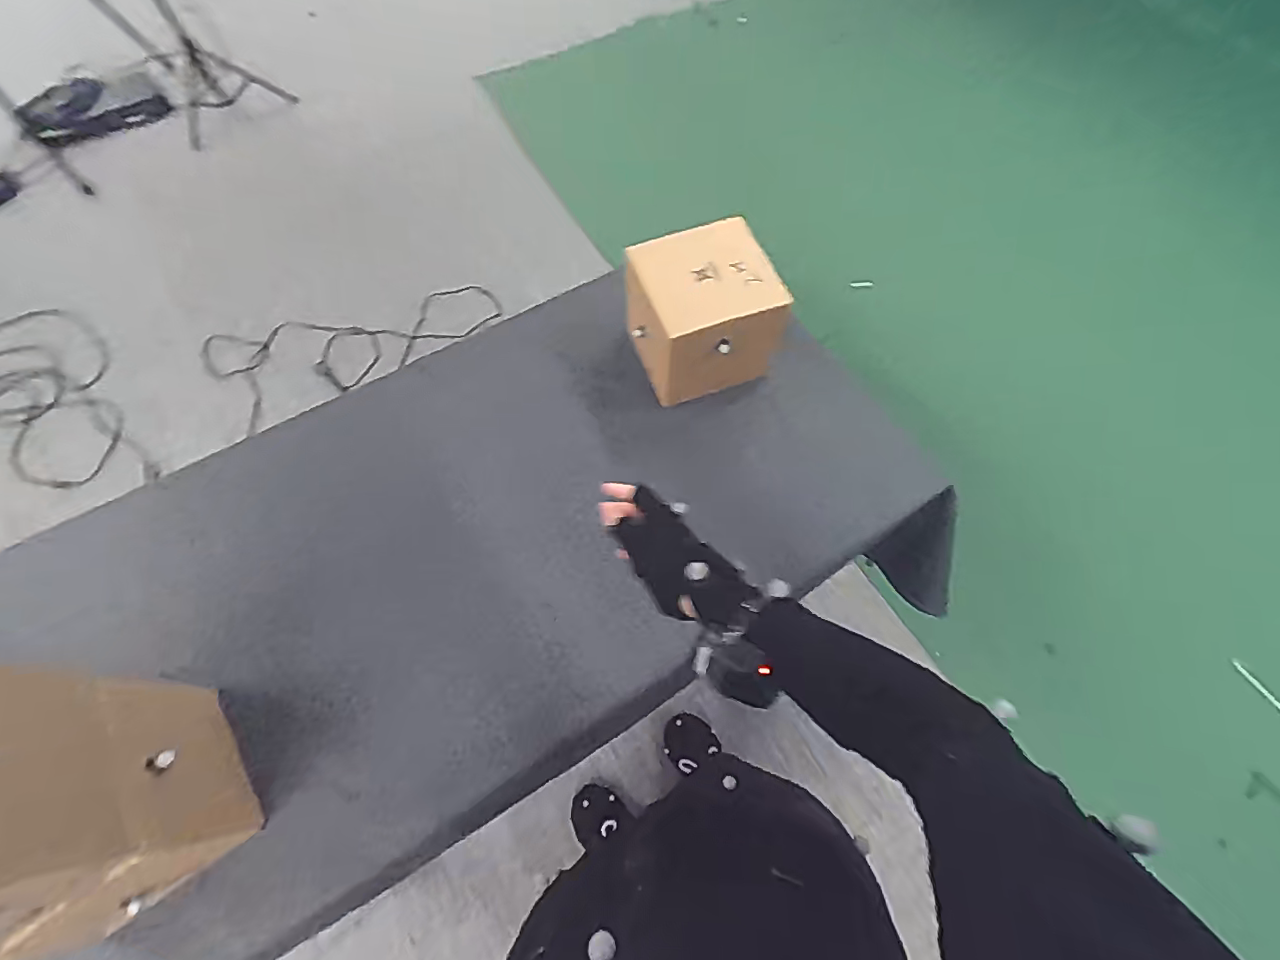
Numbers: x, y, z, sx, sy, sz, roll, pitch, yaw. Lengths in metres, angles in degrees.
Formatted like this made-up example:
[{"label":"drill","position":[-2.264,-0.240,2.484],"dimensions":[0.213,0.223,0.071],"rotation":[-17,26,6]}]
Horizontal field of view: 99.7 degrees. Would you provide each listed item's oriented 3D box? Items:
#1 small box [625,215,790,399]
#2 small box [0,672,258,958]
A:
[{"label":"small box","position":[0.087,-0.242,0.785],"dimensions":[0.179,0.176,0.168],"rotation":[-19,68,-9]},{"label":"small box","position":[-0.527,0.319,0.530],"dimensions":[0.168,0.176,0.179],"rotation":[-33,70,-15]}]
